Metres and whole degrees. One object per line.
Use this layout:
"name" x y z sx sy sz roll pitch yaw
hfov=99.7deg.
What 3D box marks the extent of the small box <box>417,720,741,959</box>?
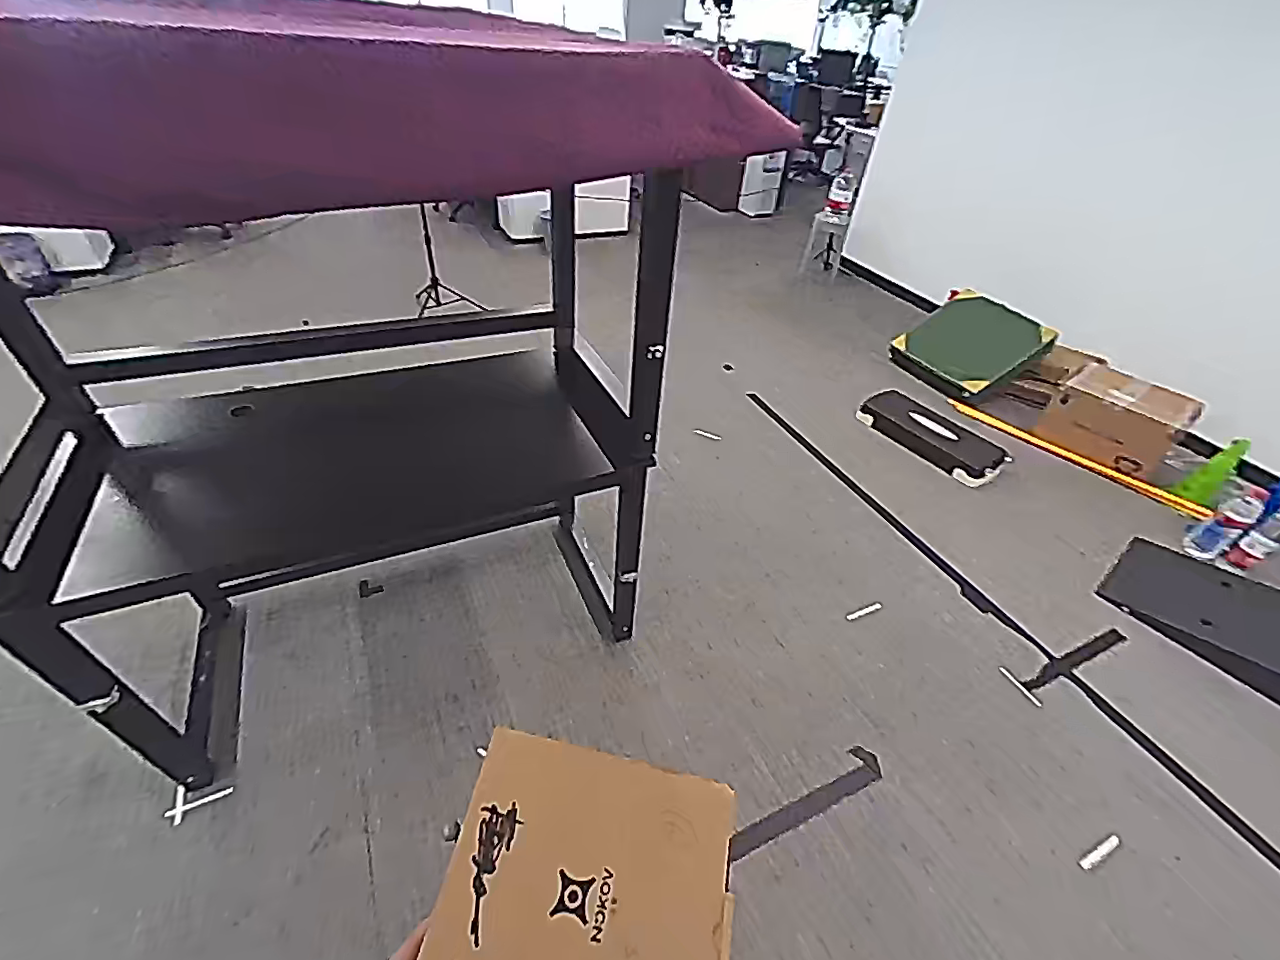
"small box" -0.044 0.295 0.387 0.179 0.176 0.168 16 52 -1
